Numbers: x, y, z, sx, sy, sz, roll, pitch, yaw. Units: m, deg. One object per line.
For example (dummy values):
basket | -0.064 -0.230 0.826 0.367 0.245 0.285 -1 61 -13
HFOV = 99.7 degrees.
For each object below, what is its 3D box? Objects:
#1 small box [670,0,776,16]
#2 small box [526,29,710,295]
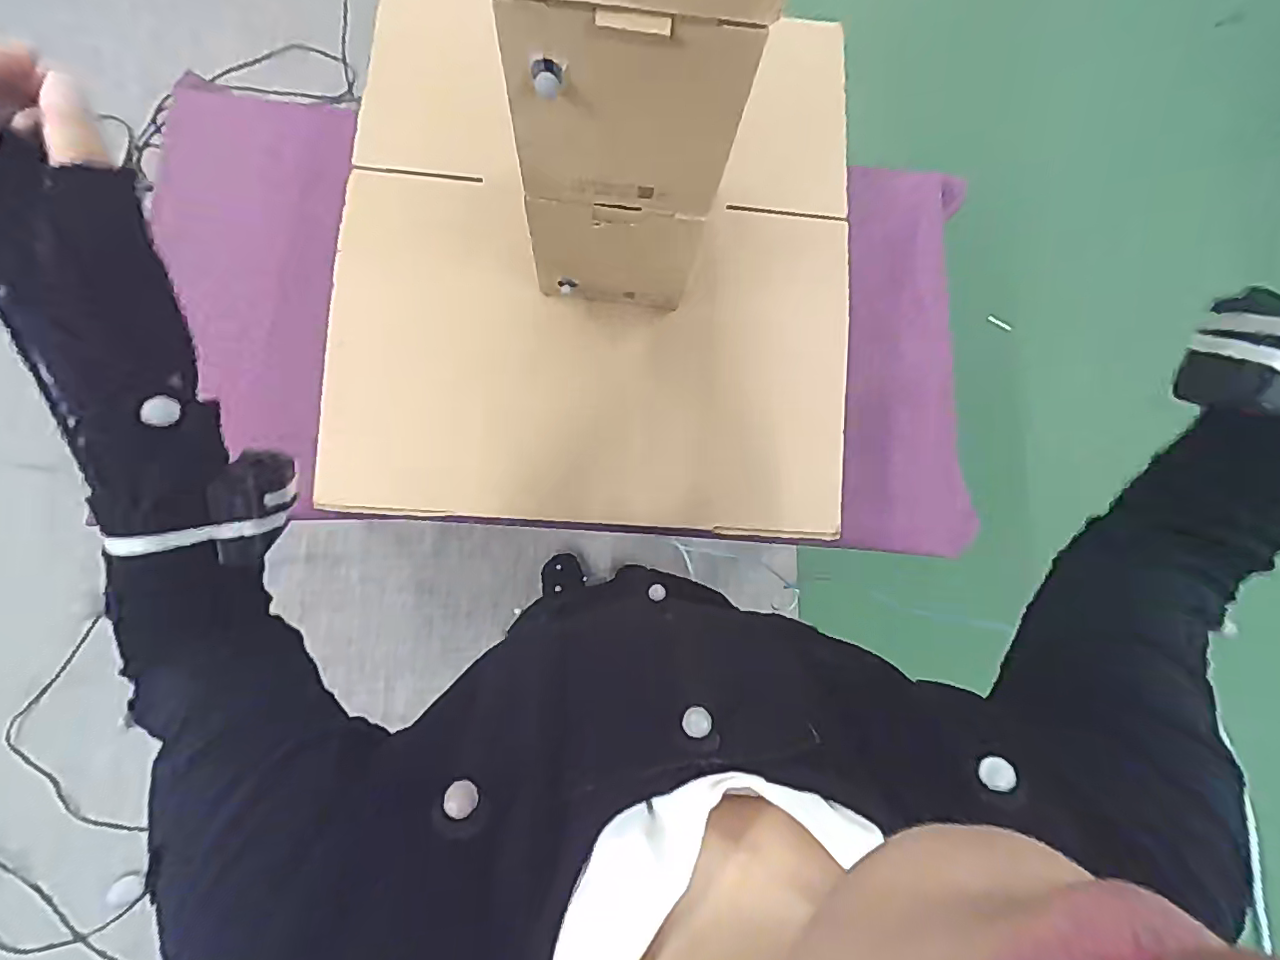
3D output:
small box | 0.012 -0.374 0.245 0.168 0.176 0.179 2 80 -6
small box | -0.024 -0.312 0.566 0.168 0.176 0.179 1 82 -5
